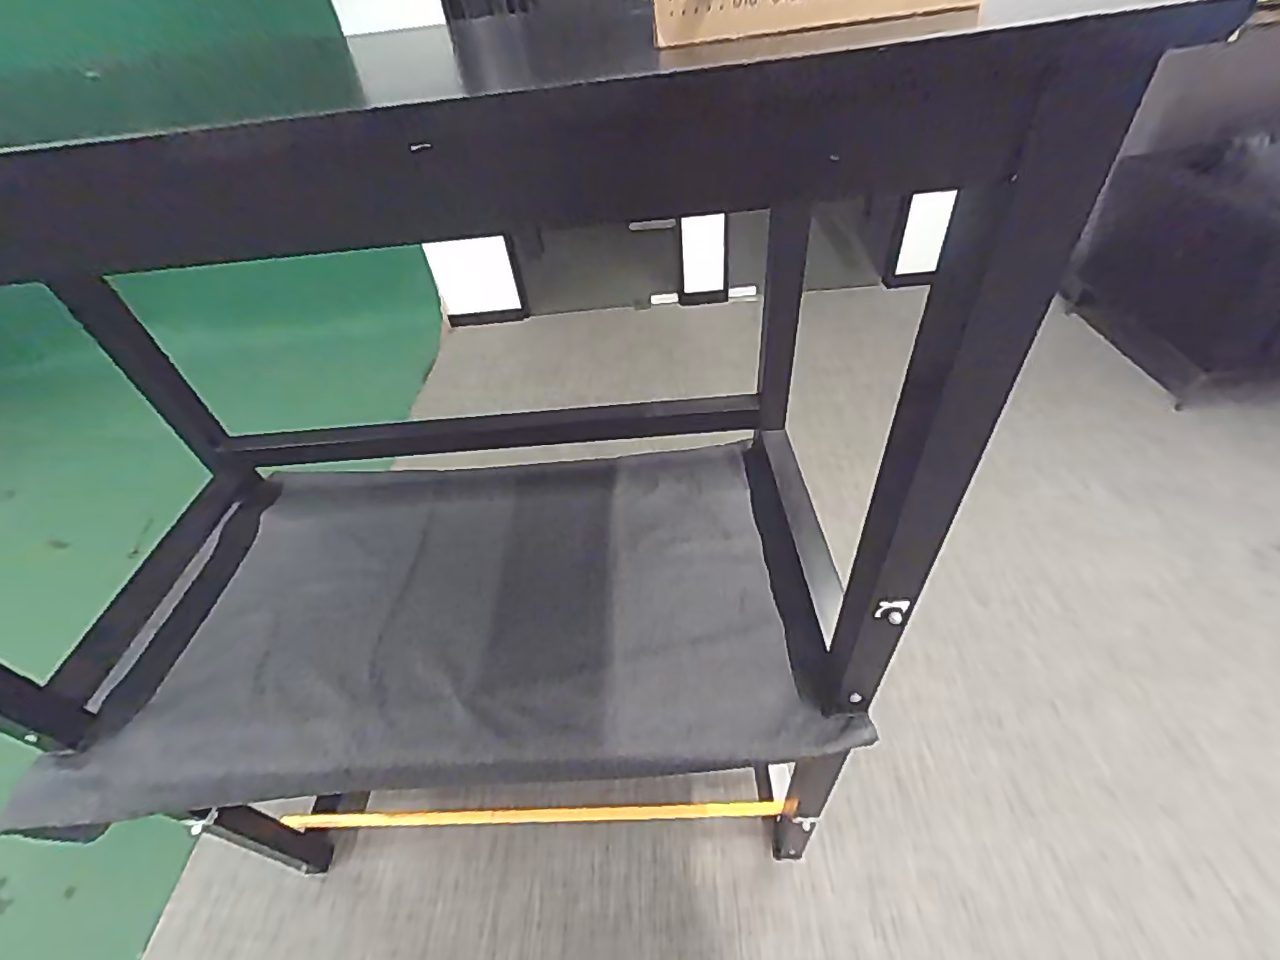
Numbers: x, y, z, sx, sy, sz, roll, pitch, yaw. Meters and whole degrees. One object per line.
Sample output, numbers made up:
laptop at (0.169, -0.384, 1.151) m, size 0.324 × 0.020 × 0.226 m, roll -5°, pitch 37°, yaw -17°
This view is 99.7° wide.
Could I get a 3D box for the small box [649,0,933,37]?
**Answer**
small box at (0.083, -0.355, 0.289) m, size 0.168 × 0.176 × 0.179 m, roll -2°, pitch 42°, yaw 6°
